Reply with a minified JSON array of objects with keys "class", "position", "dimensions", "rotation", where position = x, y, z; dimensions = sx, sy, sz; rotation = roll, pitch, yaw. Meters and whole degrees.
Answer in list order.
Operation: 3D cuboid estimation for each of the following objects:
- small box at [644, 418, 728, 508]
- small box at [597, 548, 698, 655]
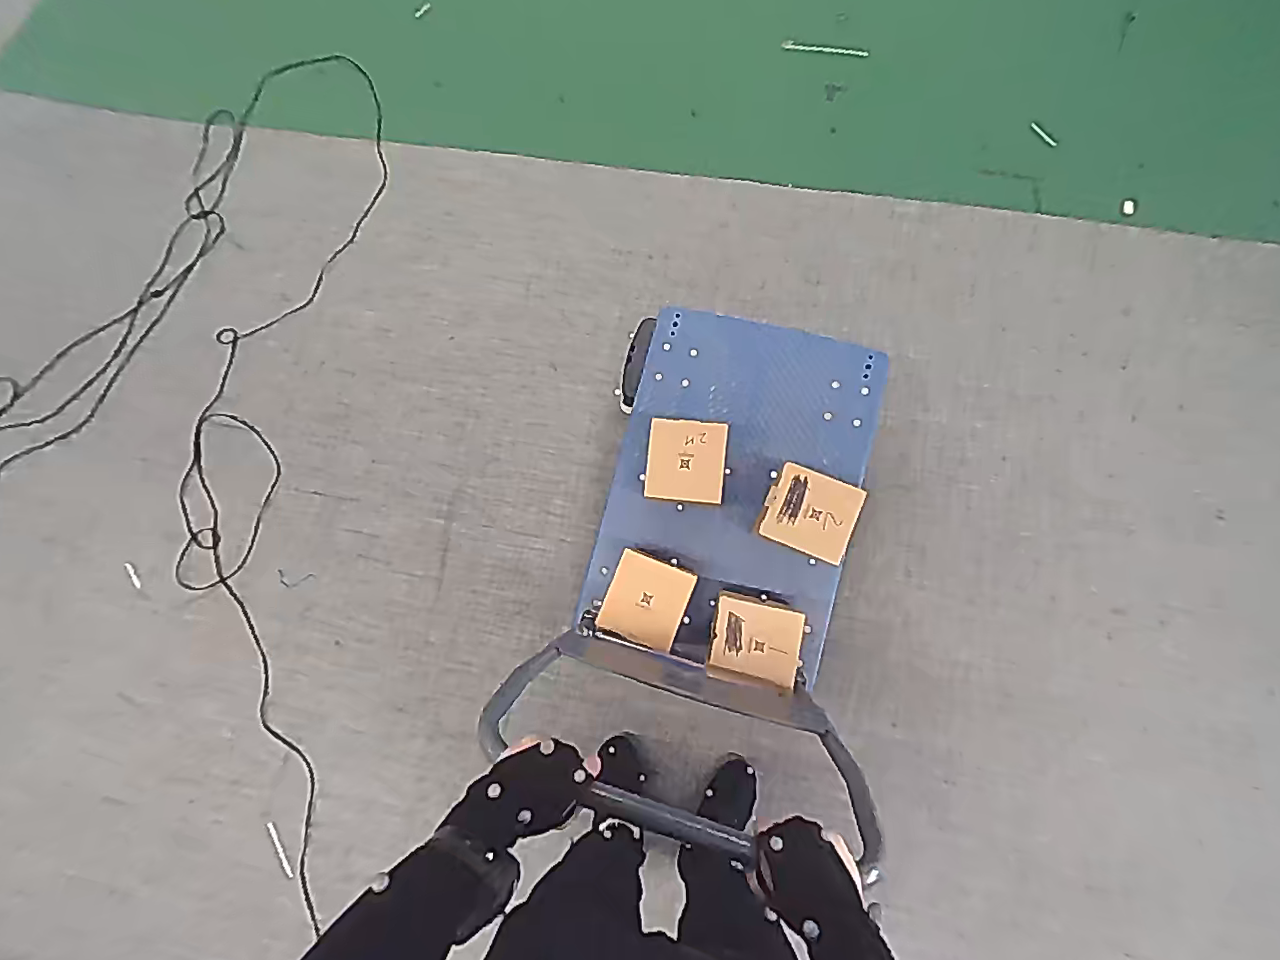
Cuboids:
[{"class":"small box","position":[0.107,-0.032,1.229],"dimensions":[0.168,0.176,0.179],"rotation":[6,84,6]},{"class":"small box","position":[0.021,0.260,1.204],"dimensions":[0.168,0.176,0.179],"rotation":[22,87,8]}]
